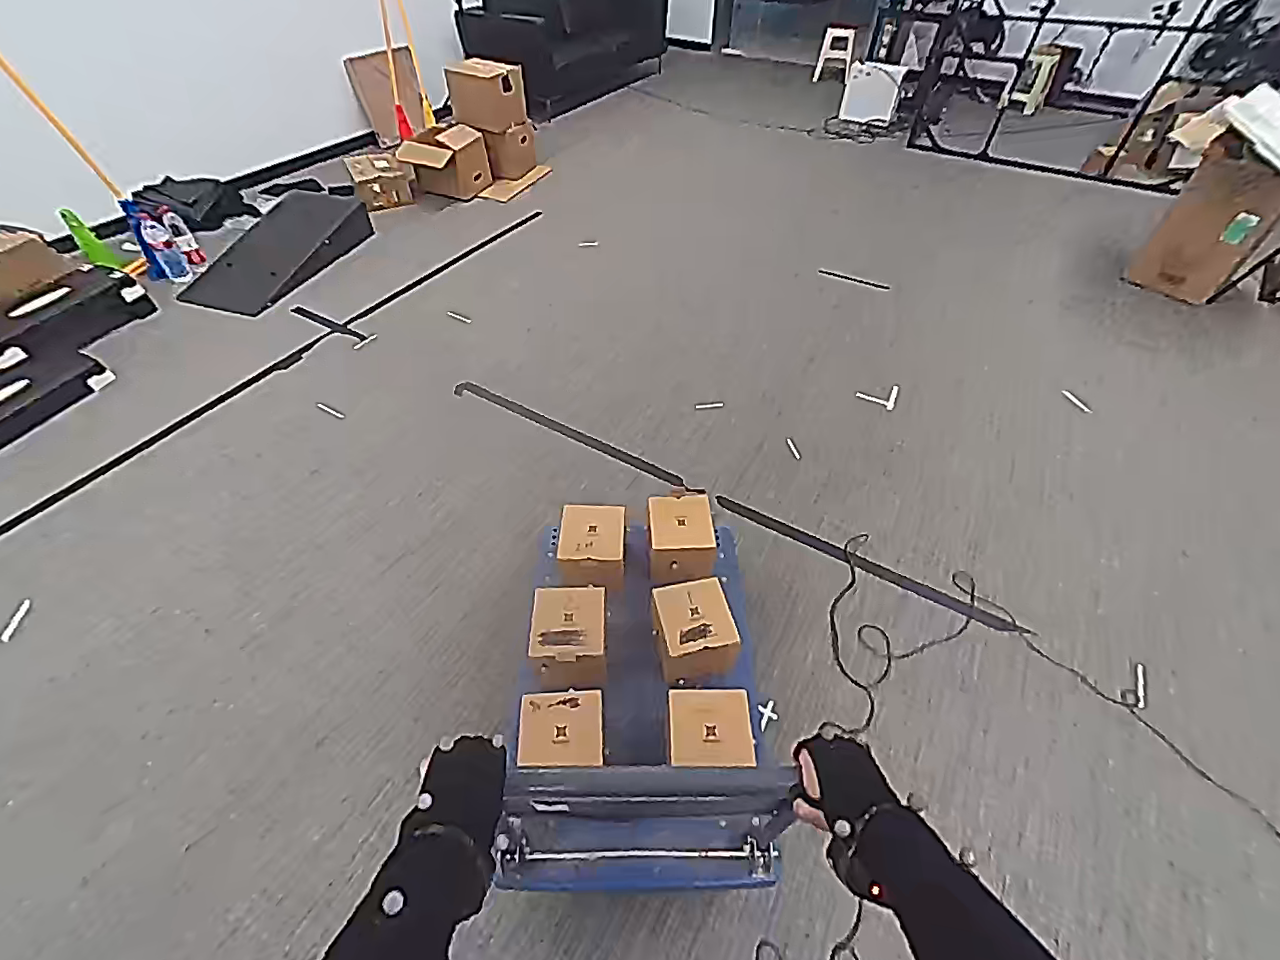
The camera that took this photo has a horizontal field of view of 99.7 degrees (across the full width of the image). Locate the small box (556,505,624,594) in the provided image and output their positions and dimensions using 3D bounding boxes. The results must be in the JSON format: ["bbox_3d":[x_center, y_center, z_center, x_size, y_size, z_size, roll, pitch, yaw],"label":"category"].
[{"bbox_3d":[-0.130,0.188,1.462,0.168,0.176,0.179,2,49,-1],"label":"small box"}]

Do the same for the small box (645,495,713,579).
[{"bbox_3d":[0.102,0.163,1.495,0.168,0.176,0.179,-2,48,-4],"label":"small box"}]

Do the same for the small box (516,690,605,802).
[{"bbox_3d":[-0.158,0.558,1.129,0.168,0.176,0.179,-2,48,-4],"label":"small box"}]

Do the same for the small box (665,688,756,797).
[{"bbox_3d":[0.140,0.557,1.142,0.168,0.176,0.179,1,47,-2],"label":"small box"}]

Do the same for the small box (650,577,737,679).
[{"bbox_3d":[0.122,0.365,1.313,0.168,0.176,0.179,-9,48,-10],"label":"small box"}]
